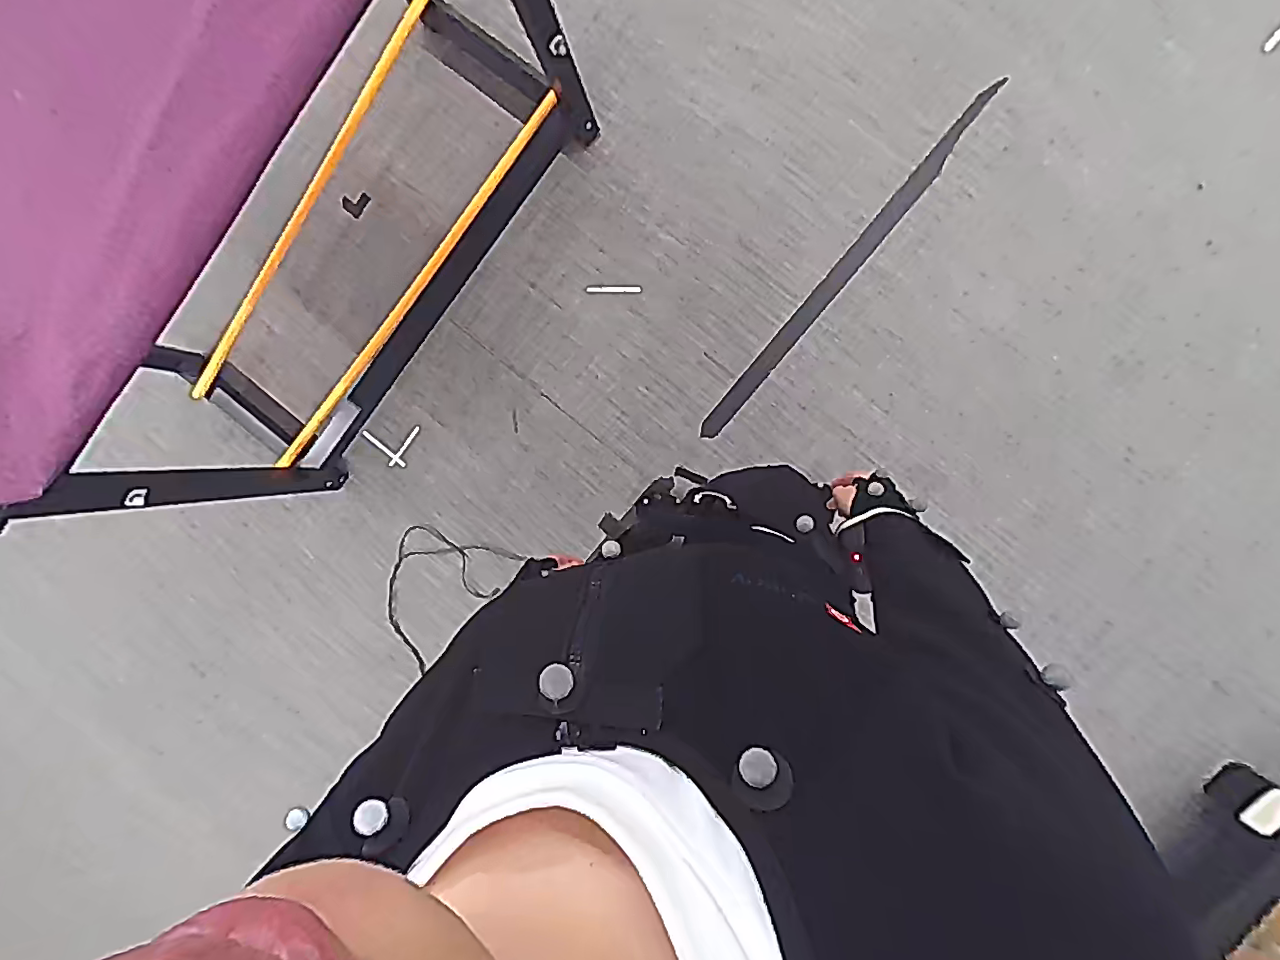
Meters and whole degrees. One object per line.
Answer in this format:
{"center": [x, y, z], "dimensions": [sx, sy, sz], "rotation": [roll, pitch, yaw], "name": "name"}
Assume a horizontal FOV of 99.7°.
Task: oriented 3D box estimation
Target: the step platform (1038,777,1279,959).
{"center": [1.231, 0.996, 1.152], "dimensions": [0.286, 0.204, 0.684], "rotation": [39, 95, 4], "name": "step platform"}
